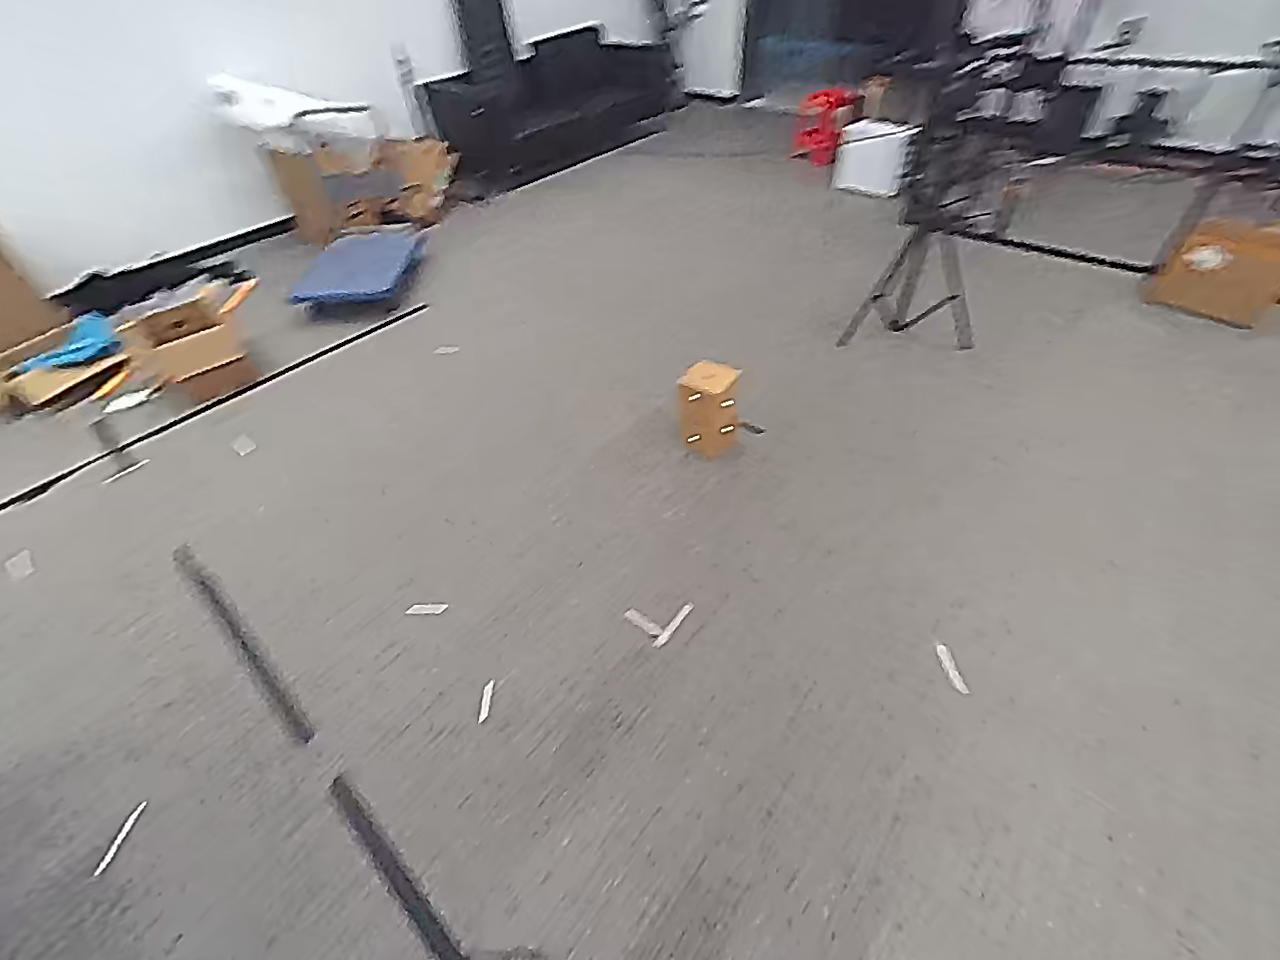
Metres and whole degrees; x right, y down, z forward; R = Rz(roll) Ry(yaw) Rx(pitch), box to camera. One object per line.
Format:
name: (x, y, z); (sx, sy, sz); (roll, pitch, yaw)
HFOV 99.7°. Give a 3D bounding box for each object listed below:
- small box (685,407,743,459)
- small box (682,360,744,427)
small box: (0.298, -0.215, 2.186); (0.168, 0.176, 0.179); (33, 56, 31)
small box: (0.279, -0.326, 2.068); (0.179, 0.176, 0.168); (24, 52, 26)
